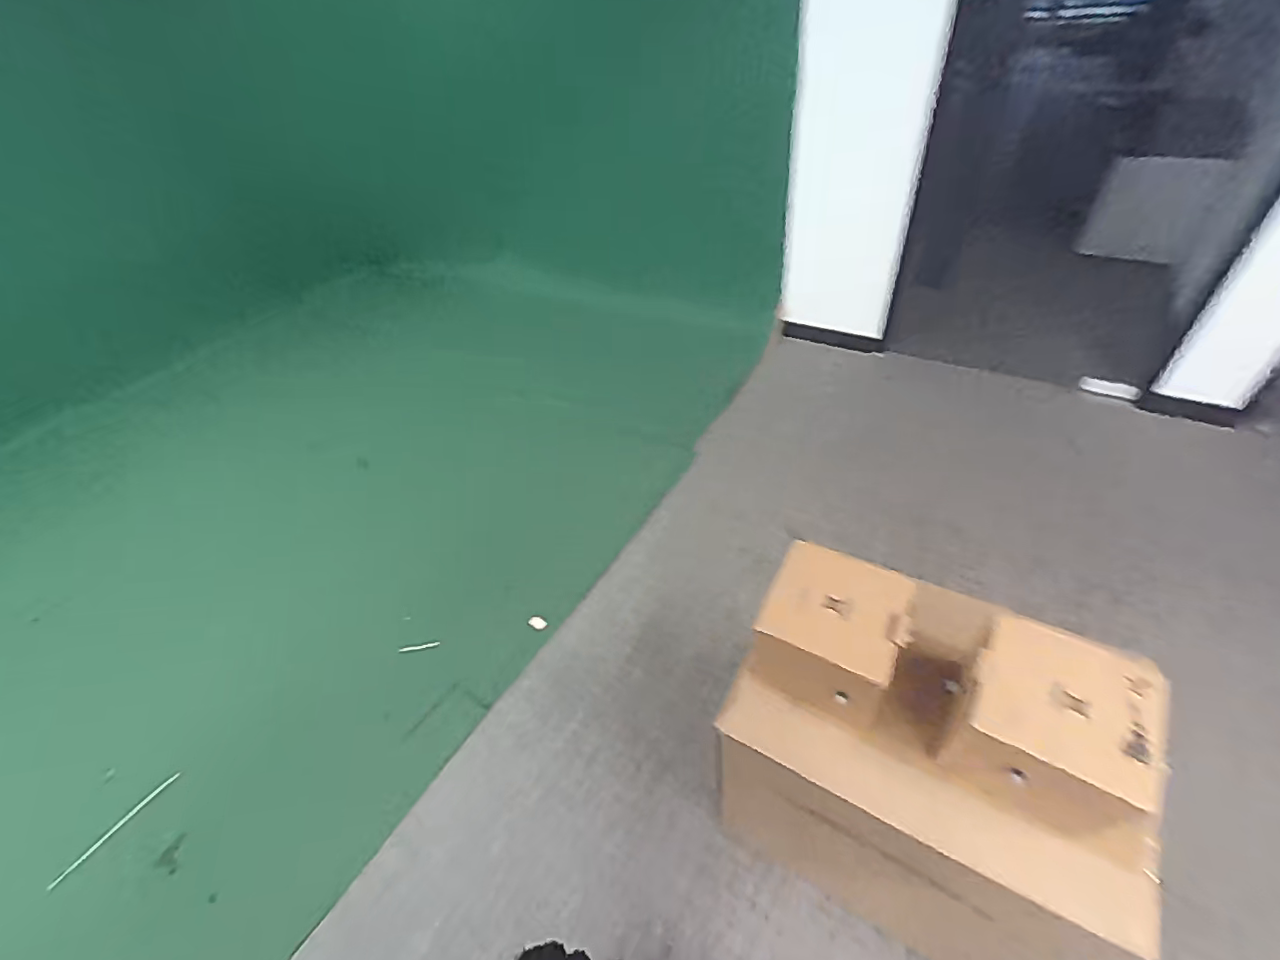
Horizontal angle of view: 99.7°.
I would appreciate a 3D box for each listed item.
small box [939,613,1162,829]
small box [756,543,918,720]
[{"bbox_3d":[0.507,0.308,0.688,0.179,0.176,0.168,21,56,27],"label":"small box"},{"bbox_3d":[0.285,0.229,0.805,0.179,0.176,0.168,18,53,27],"label":"small box"}]
